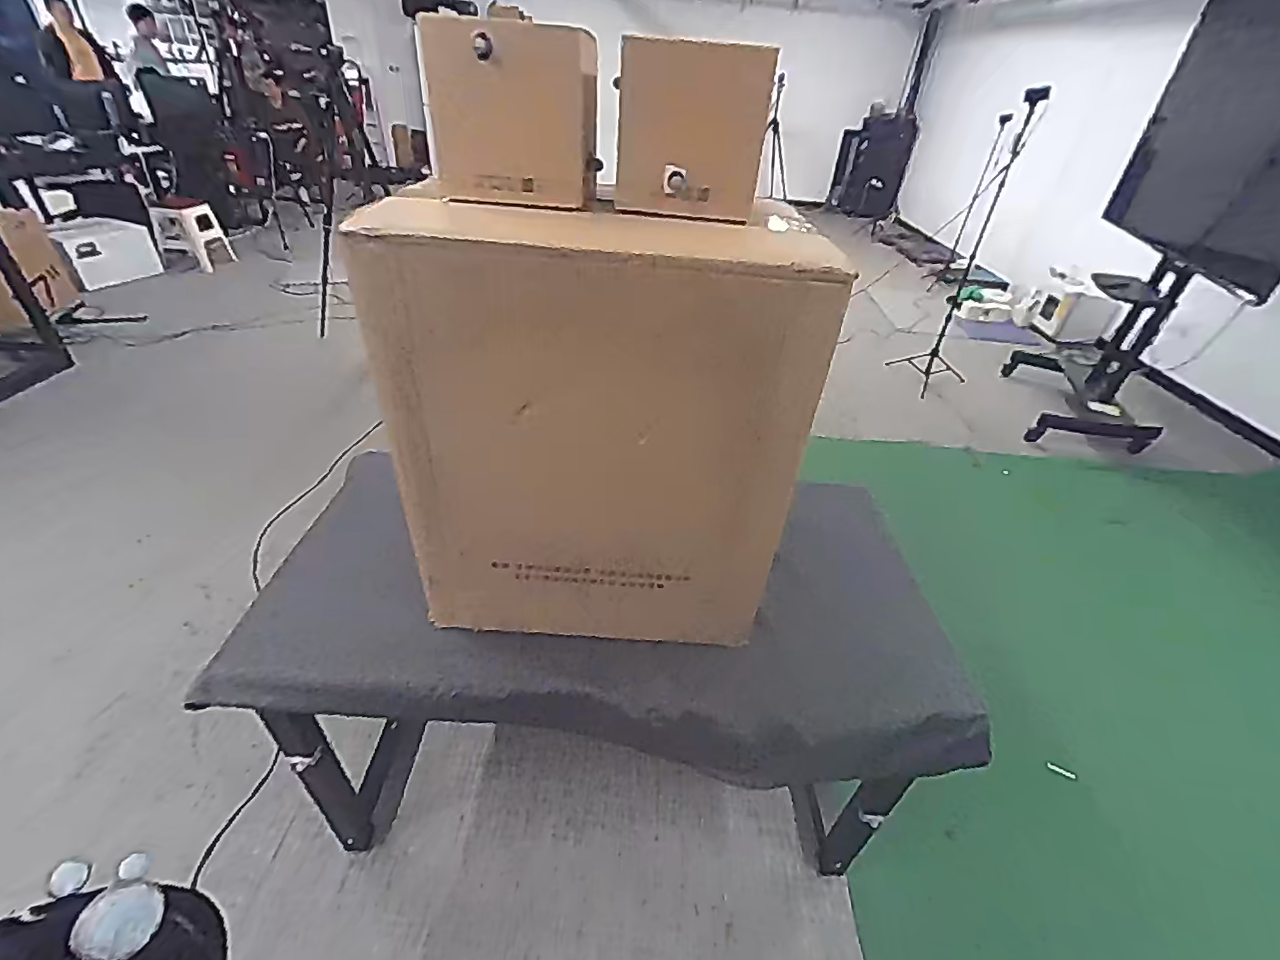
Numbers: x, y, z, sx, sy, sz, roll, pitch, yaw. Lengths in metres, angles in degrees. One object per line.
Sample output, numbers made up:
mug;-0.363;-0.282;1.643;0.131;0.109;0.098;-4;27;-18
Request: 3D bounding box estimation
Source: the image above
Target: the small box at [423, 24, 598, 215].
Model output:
small box;-0.143;-0.434;0.664;0.168;0.176;0.179;3;34;0
